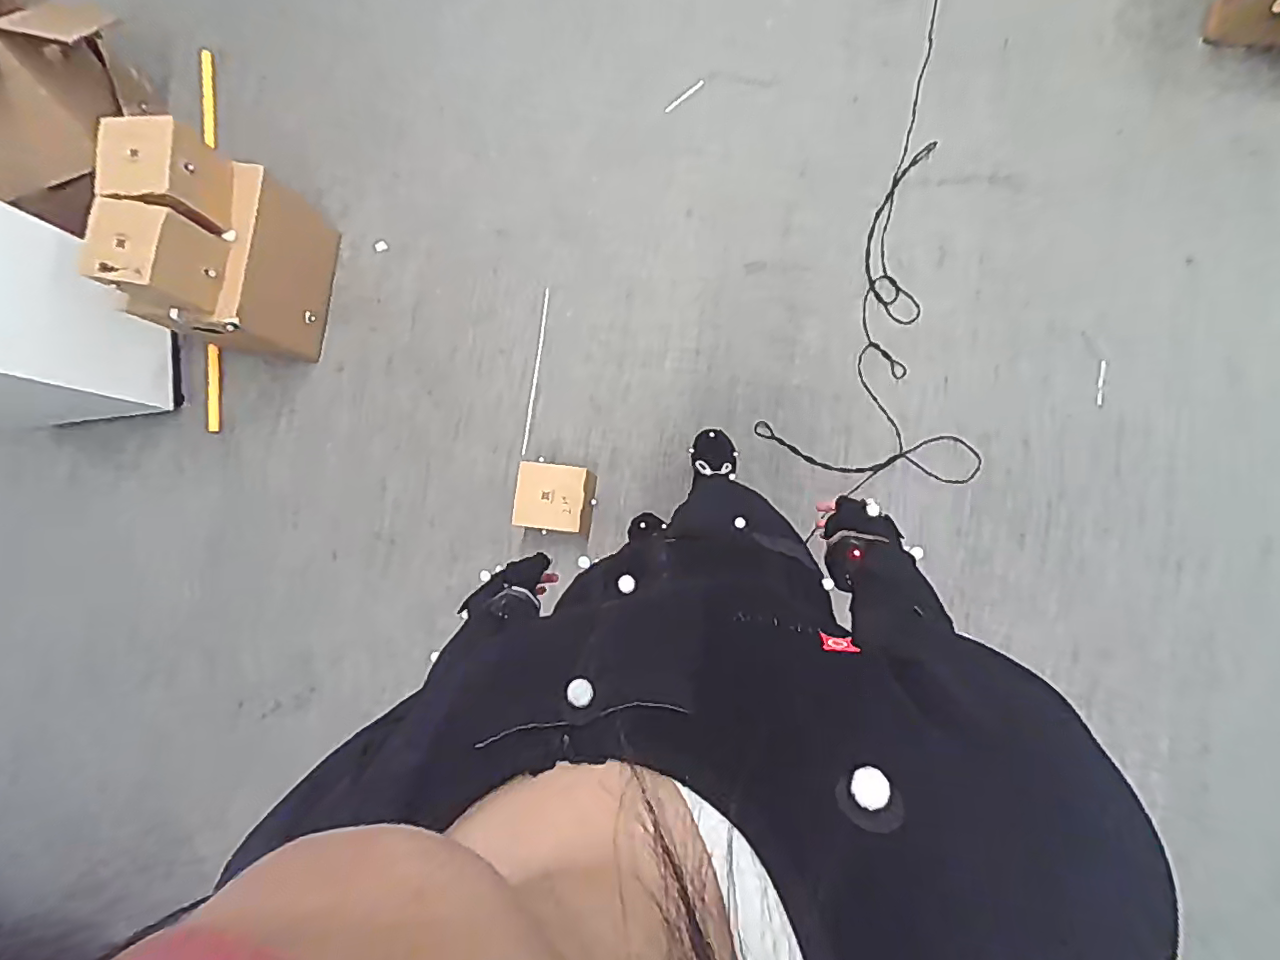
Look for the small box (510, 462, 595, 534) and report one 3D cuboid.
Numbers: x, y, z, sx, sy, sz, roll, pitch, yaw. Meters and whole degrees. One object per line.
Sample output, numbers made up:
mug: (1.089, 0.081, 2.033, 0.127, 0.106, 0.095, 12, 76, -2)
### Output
small box: (-0.225, 0.050, 1.425, 0.179, 0.176, 0.168, 6, 87, 4)
